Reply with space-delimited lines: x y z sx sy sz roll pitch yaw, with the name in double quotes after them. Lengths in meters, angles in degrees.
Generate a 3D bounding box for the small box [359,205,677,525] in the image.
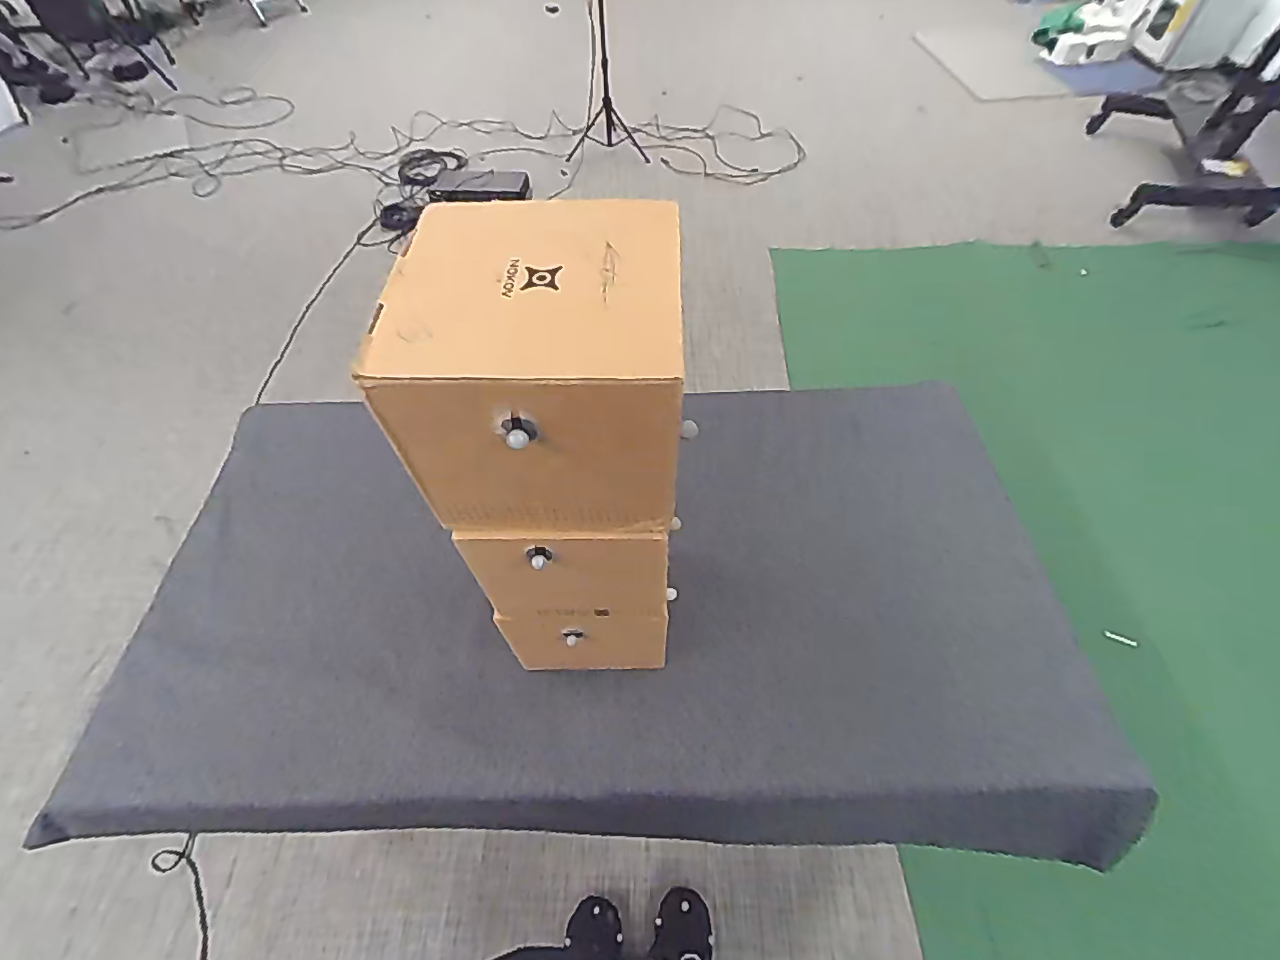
-0.063 -0.077 0.399 0.179 0.176 0.168 1 57 1 "small box"

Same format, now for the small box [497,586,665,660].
-0.059 0.115 0.662 0.179 0.176 0.168 -1 55 0 "small box"

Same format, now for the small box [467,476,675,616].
-0.056 0.019 0.533 0.168 0.176 0.179 -1 55 -1 "small box"
